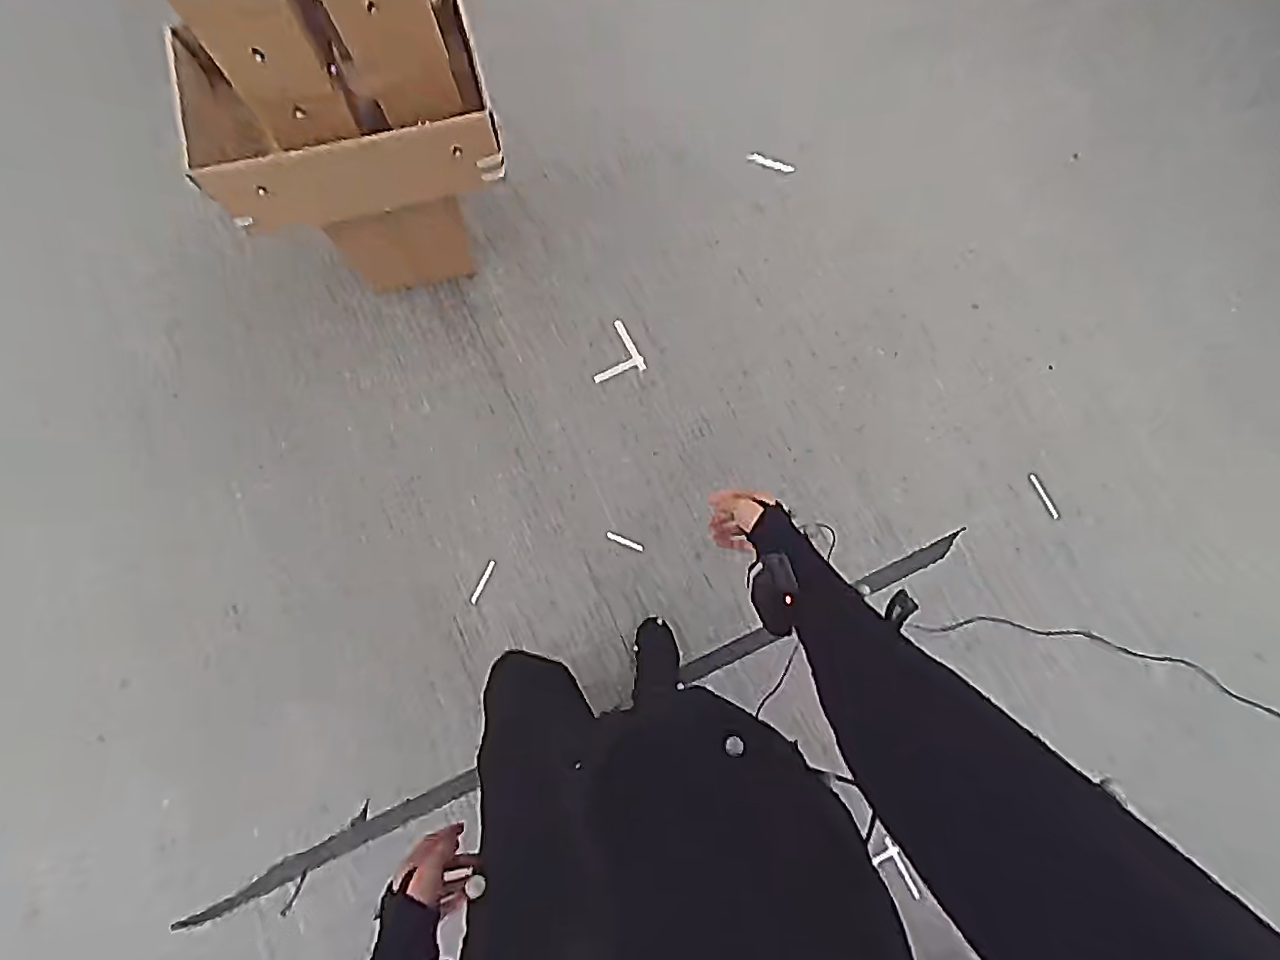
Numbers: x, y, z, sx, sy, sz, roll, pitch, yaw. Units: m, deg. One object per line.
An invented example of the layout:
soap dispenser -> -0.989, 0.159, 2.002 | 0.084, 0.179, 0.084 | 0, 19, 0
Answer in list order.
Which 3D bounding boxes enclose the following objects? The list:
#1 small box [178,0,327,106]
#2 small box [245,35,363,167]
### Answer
small box -> -0.705, -0.838, 1.005 | 0.179, 0.176, 0.168 | -9, 78, -5
small box -> -0.721, -0.815, 1.167 | 0.179, 0.176, 0.168 | -14, 78, -7
